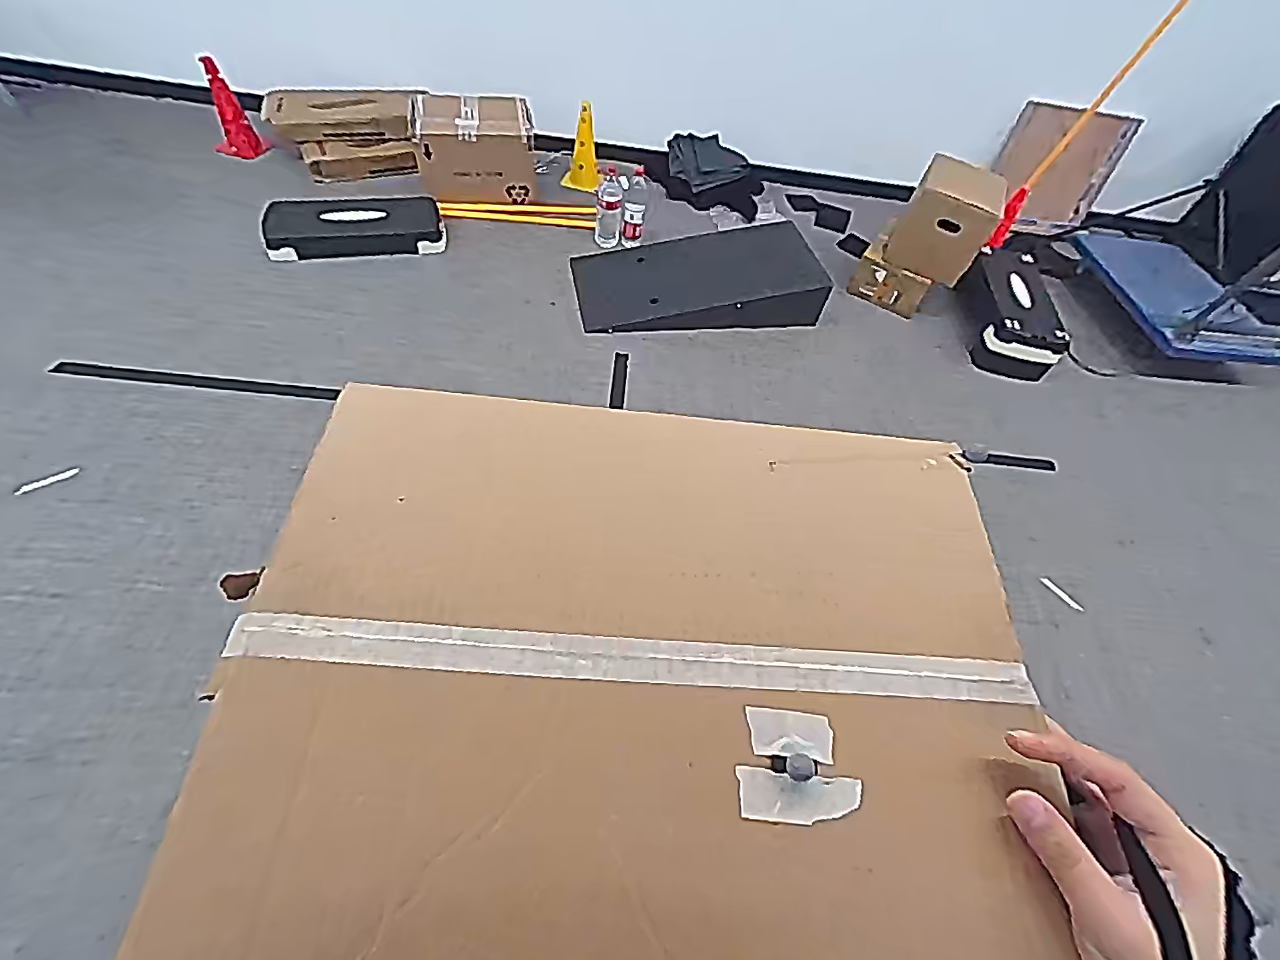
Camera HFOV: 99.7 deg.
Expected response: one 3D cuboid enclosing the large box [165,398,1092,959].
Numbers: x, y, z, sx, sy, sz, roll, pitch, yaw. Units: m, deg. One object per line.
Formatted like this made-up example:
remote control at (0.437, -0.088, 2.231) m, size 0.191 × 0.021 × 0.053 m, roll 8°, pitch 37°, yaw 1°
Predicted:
large box at (-0.004, 0.167, 0.420) m, size 0.408 × 0.320 × 0.320 m, roll 6°, pitch 61°, yaw -5°
